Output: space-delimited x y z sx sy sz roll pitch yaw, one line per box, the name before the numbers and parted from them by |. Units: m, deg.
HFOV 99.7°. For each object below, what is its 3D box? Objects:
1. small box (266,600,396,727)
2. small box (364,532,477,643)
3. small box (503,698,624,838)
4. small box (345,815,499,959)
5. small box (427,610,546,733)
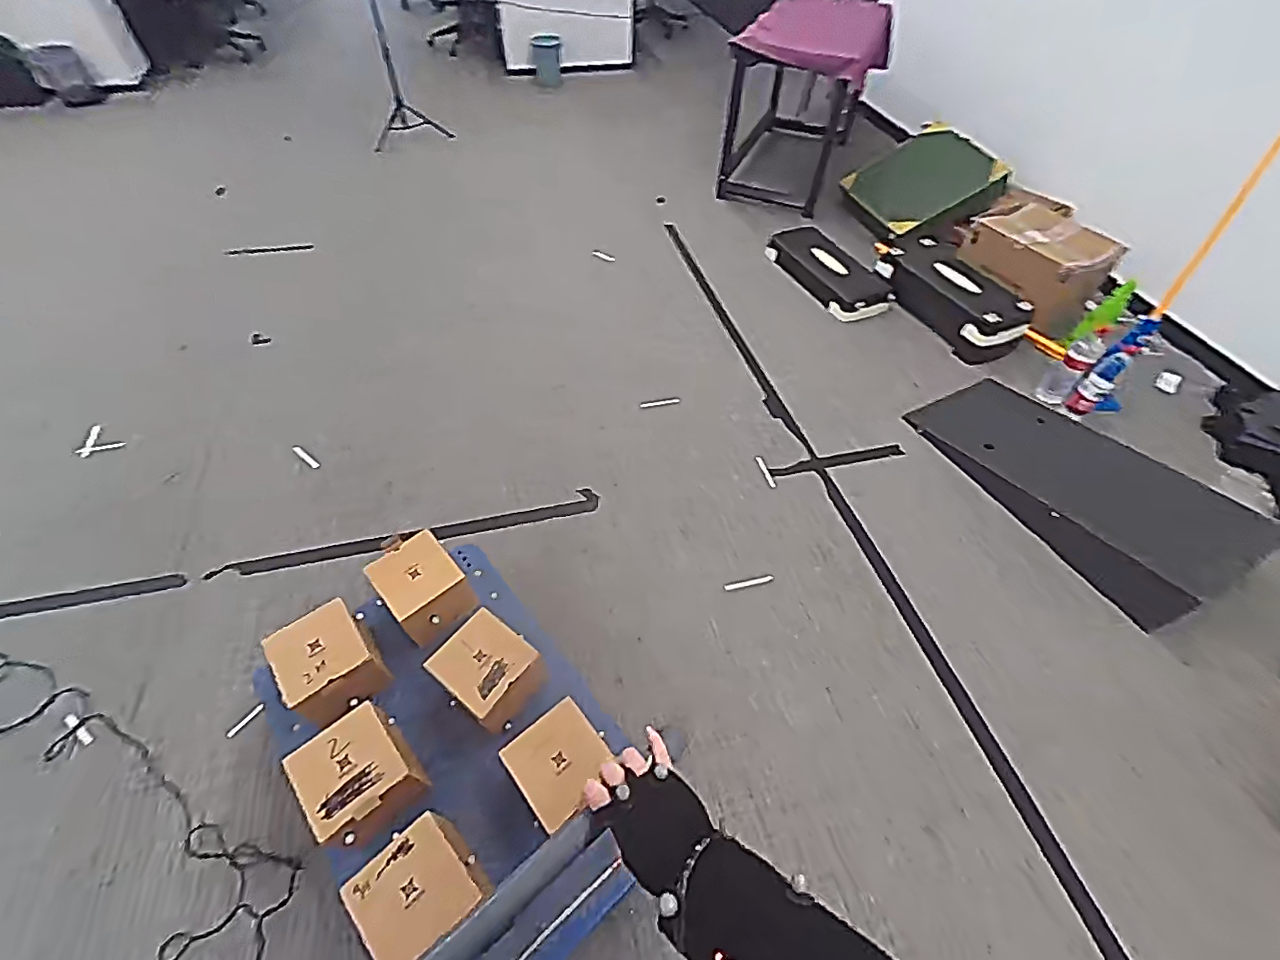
small box | -0.666 0.402 1.178 0.168 0.176 0.179 -32 61 -24
small box | -0.514 0.265 1.293 0.168 0.176 0.179 -37 62 -26
small box | -0.146 0.575 1.071 0.168 0.176 0.179 -32 59 -25
small box | -0.368 0.726 0.942 0.168 0.176 0.179 -36 62 -27
small box | -0.324 0.423 1.179 0.179 0.176 0.168 31 57 21
